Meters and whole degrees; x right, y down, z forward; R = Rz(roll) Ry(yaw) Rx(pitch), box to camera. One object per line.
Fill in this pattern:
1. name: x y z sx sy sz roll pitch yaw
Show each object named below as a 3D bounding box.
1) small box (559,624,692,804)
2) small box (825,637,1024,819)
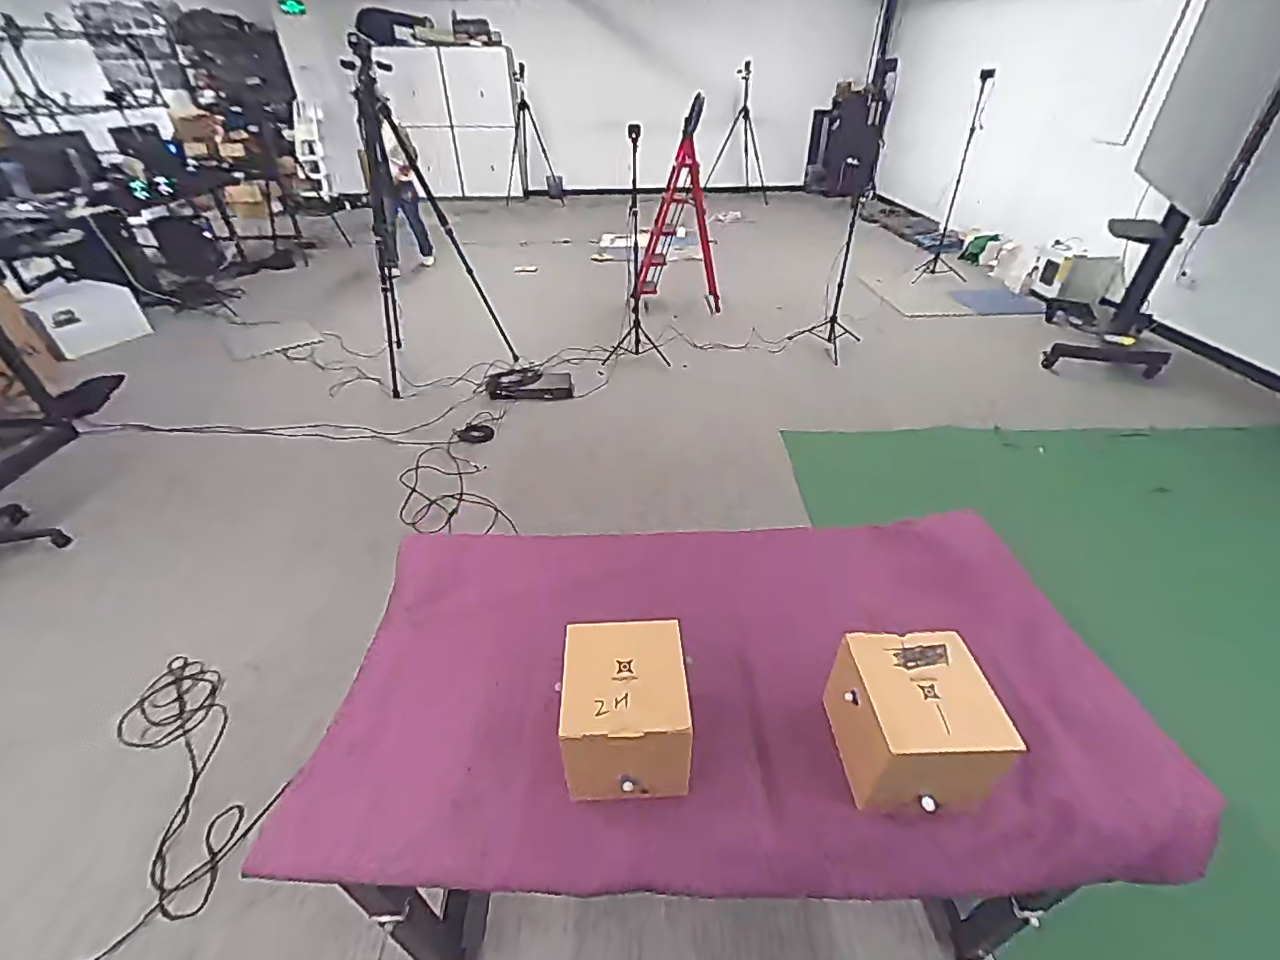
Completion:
1. small box: -0.021 0.329 0.770 0.168 0.176 0.179 -2 35 -2
2. small box: 0.373 0.342 0.754 0.168 0.176 0.179 -1 37 -1
